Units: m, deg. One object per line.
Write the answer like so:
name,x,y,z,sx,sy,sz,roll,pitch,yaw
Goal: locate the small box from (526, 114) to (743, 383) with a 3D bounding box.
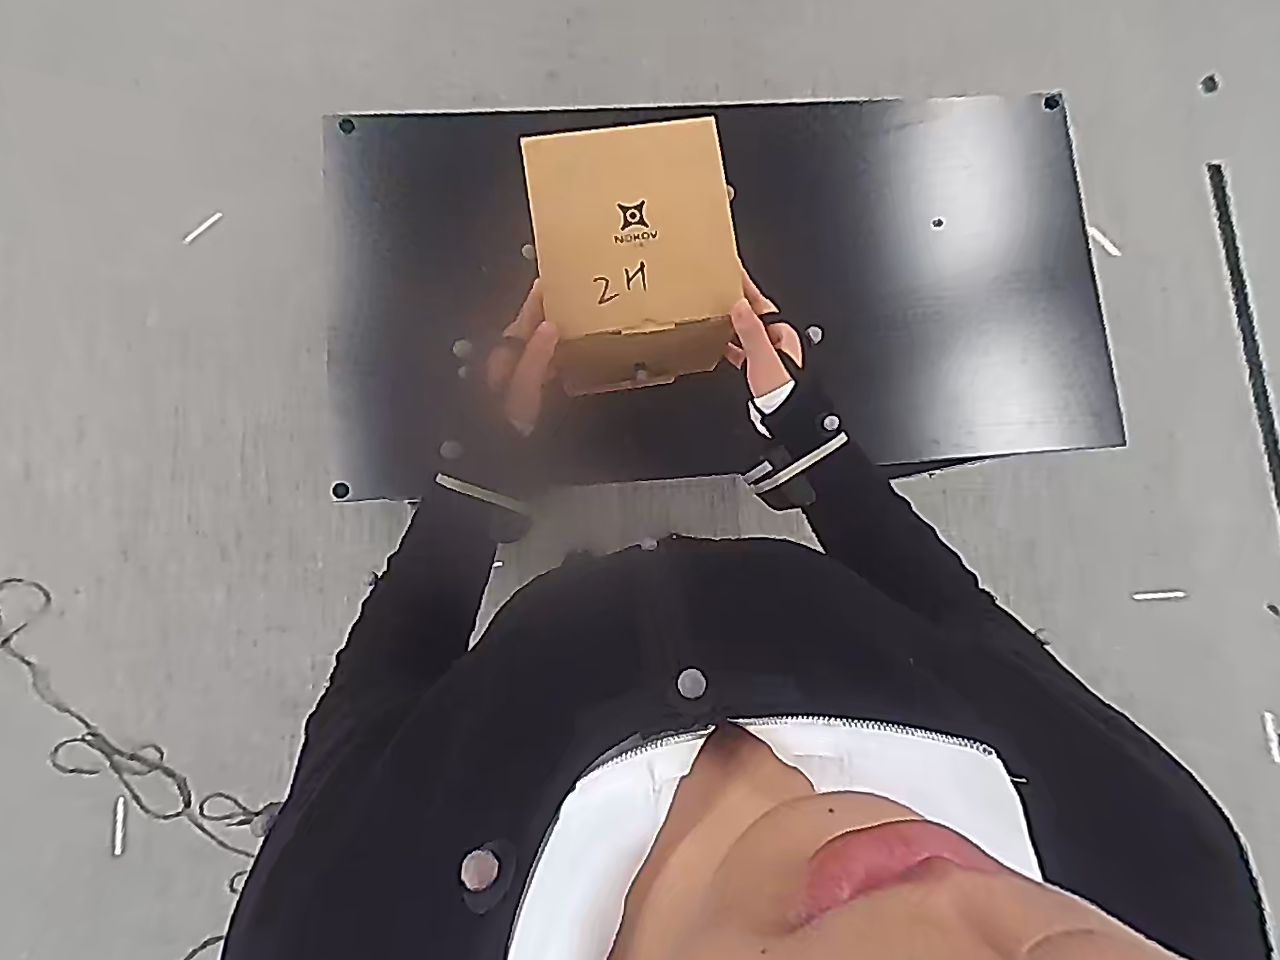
small box,-0.009,-0.209,0.527,0.168,0.176,0.179,-8,86,-2
